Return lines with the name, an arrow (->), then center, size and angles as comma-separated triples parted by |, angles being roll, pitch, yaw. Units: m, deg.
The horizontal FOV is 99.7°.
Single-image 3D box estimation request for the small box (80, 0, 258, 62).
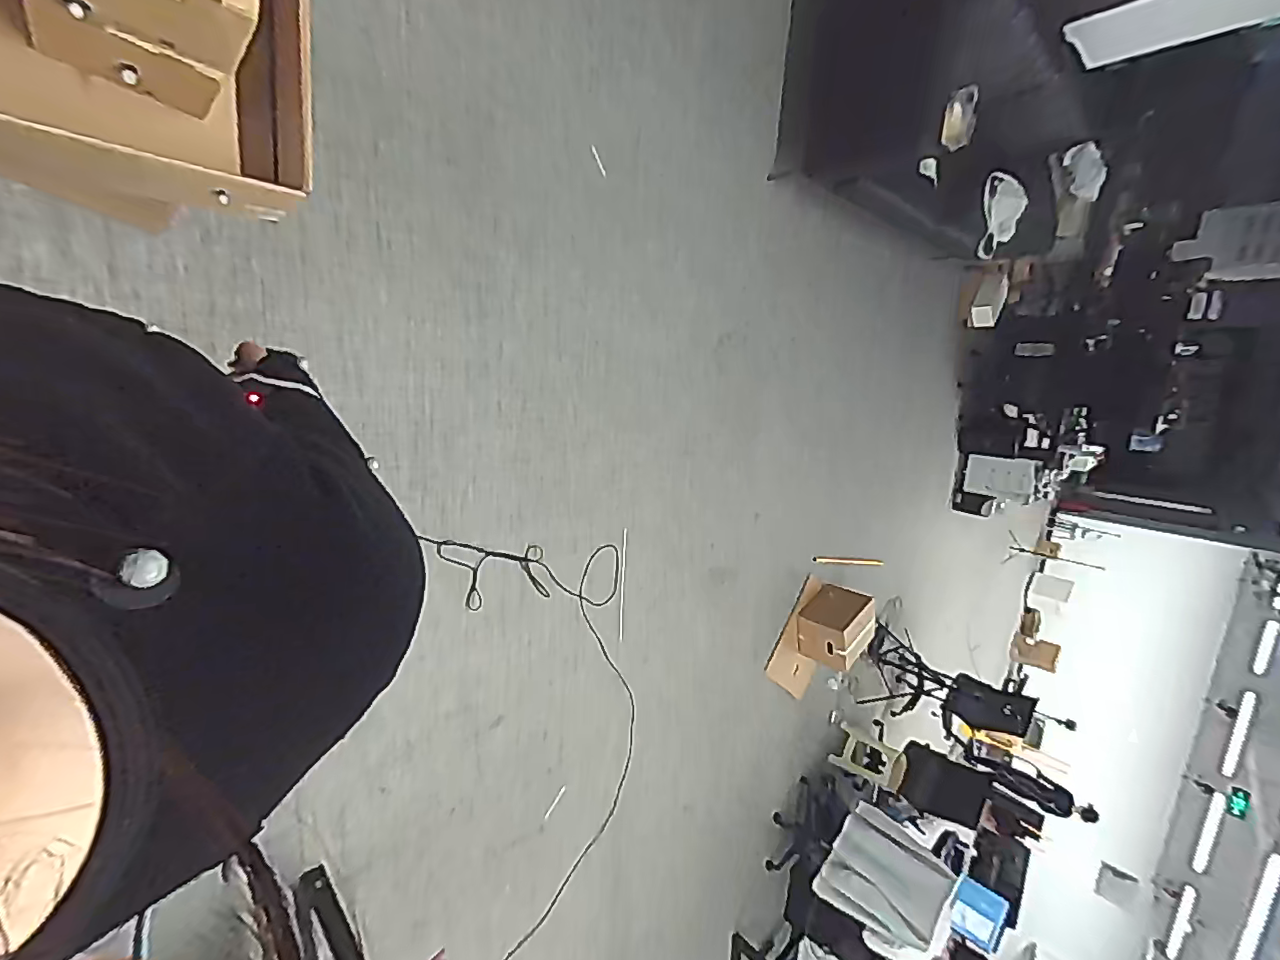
small box -> -0.482, -0.562, 0.528 | 0.168, 0.176, 0.179 | -1, 101, -44
